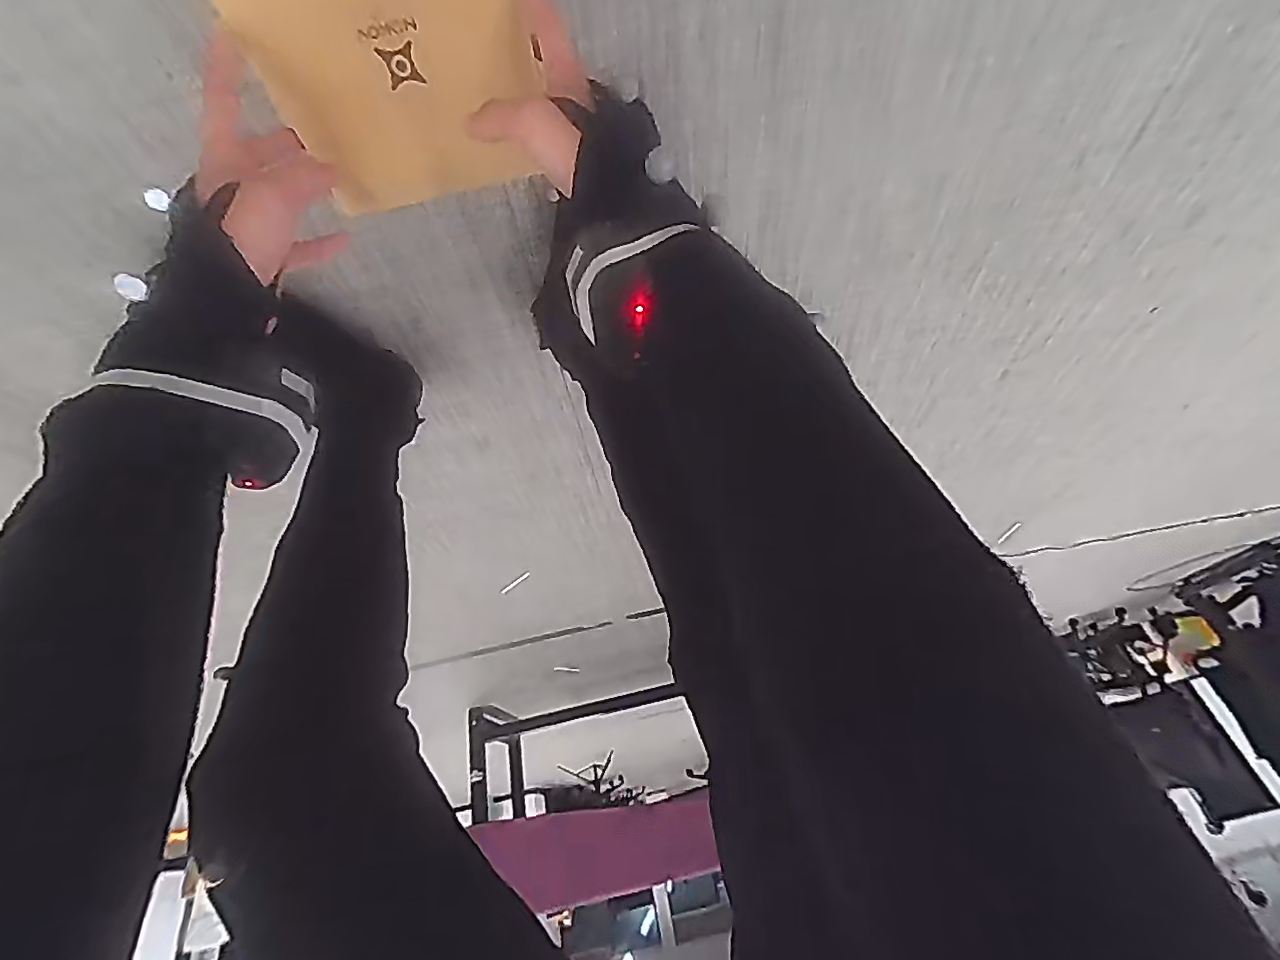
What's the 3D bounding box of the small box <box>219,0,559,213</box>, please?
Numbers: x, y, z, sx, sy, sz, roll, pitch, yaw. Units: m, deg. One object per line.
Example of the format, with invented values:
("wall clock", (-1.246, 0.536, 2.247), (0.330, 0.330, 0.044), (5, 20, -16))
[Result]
("small box", (-0.161, -0.326, 0.373), (0.168, 0.176, 0.179), (-13, 147, 0))
